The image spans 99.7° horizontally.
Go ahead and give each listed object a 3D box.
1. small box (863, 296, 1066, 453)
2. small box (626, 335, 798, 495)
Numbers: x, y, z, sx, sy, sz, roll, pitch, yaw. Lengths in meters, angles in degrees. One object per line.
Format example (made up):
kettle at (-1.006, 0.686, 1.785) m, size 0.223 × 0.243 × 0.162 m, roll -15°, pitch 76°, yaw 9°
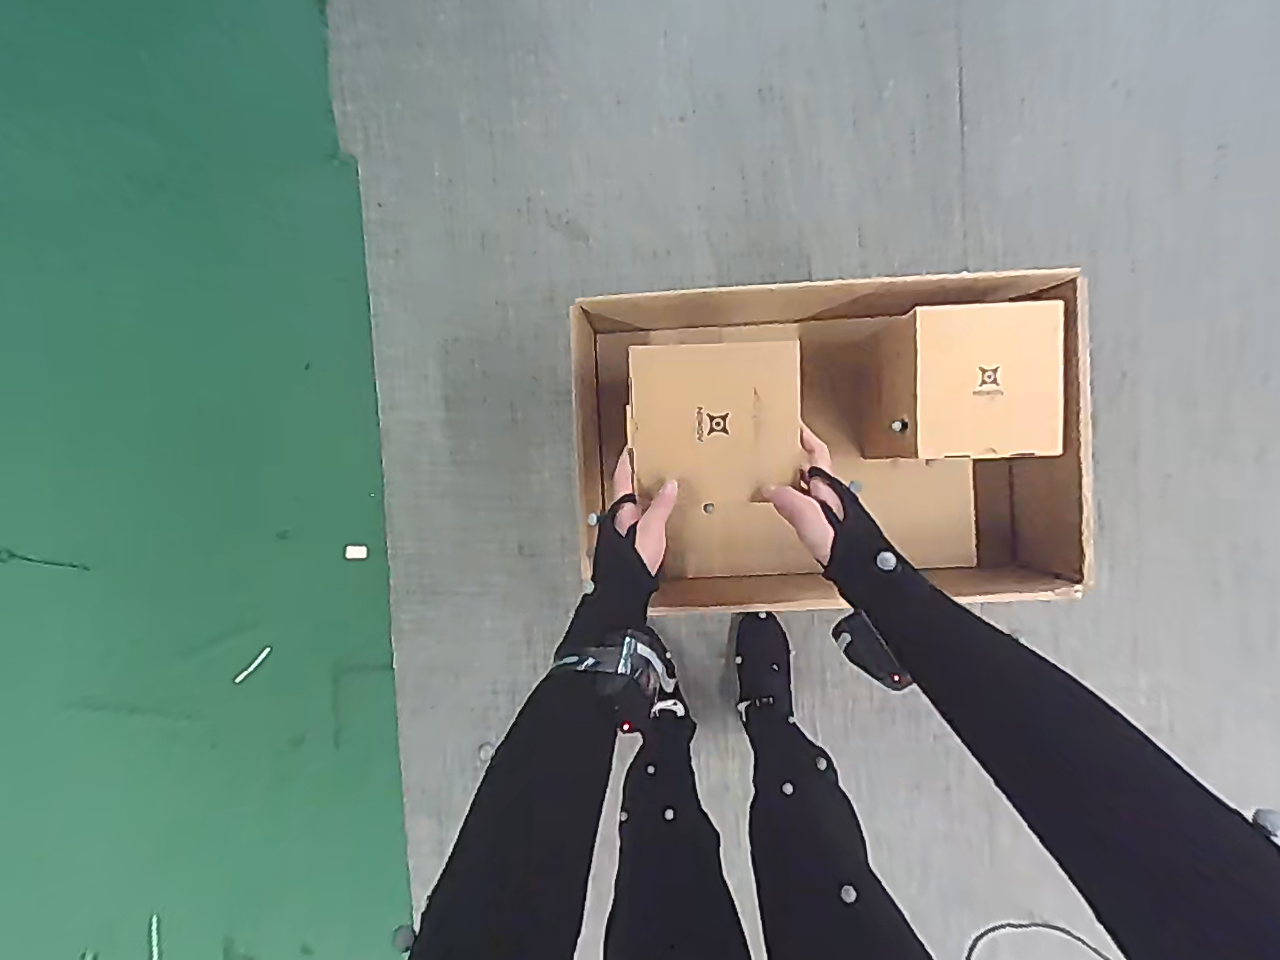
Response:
small box at (0.397, -0.123, 0.691) m, size 0.168 × 0.176 × 0.179 m, roll -1°, pitch 94°, yaw 2°
small box at (0.079, -0.070, 0.635) m, size 0.179 × 0.176 × 0.168 m, roll 0°, pitch 94°, yaw 3°
